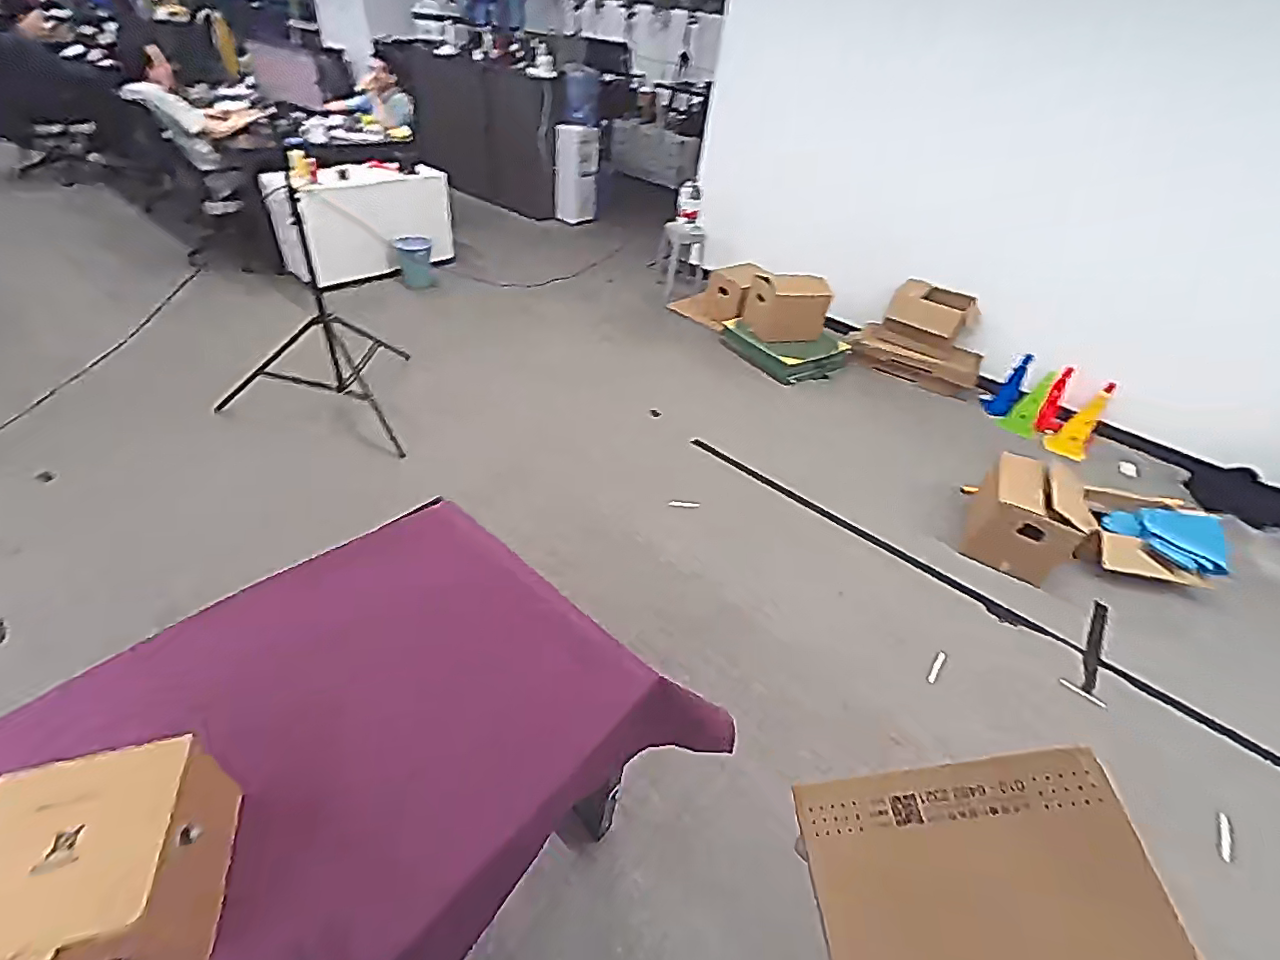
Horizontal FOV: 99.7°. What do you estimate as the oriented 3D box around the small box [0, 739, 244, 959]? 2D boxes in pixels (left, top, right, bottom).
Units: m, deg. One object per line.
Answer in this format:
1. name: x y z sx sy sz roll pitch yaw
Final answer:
1. small box: -0.550 0.413 0.568 0.168 0.176 0.179 -8 41 -19
